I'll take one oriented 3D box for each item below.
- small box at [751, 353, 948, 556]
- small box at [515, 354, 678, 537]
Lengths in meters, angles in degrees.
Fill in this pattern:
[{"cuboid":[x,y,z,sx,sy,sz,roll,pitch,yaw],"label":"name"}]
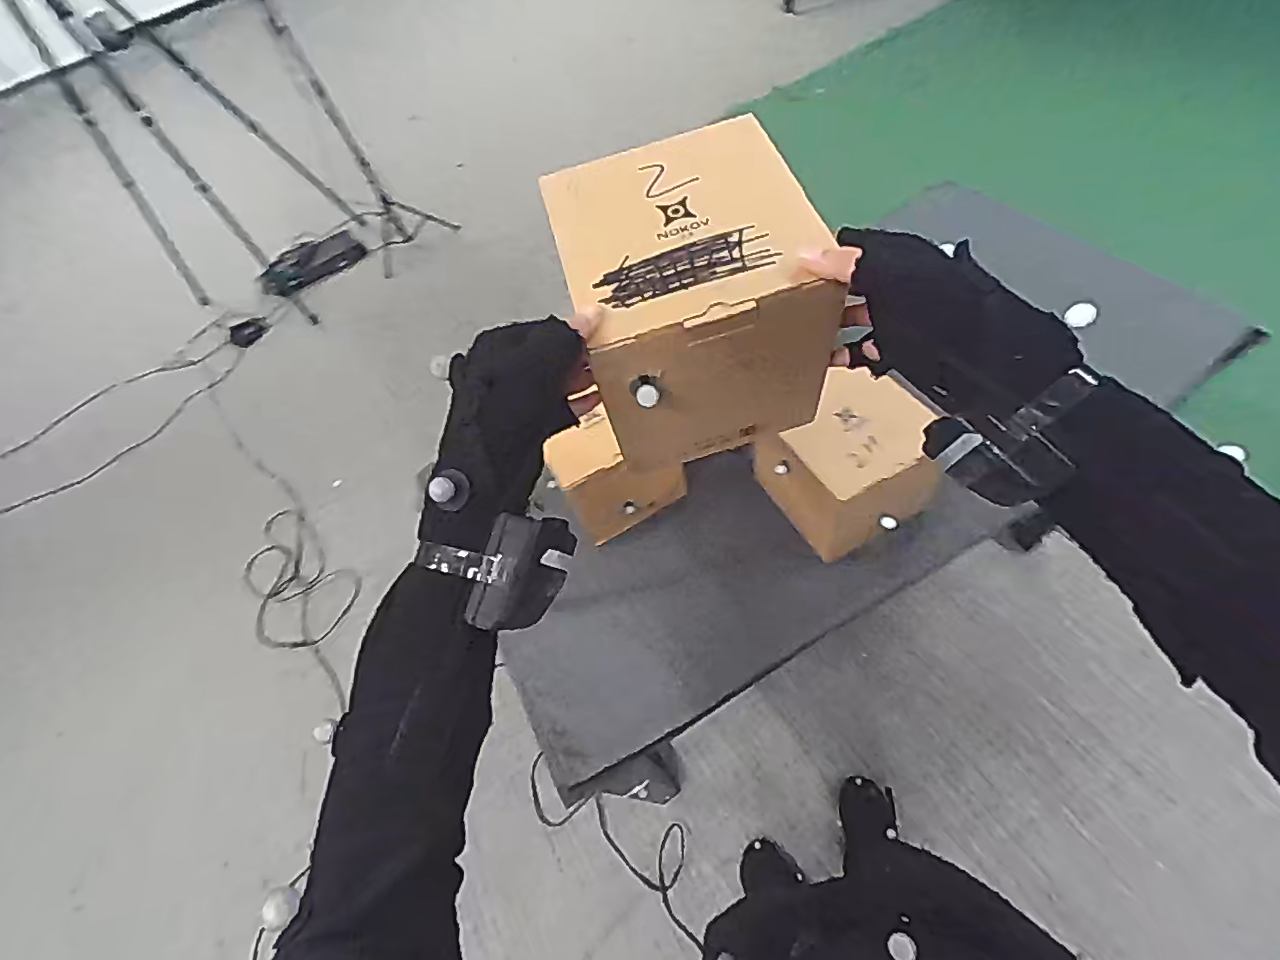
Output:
[{"cuboid":[0.263,-0.030,0.729,0.168,0.176,0.179,-29,56,-7],"label":"small box"},{"cuboid":[-0.059,-0.047,0.808,0.168,0.176,0.179,-30,58,-8],"label":"small box"}]
